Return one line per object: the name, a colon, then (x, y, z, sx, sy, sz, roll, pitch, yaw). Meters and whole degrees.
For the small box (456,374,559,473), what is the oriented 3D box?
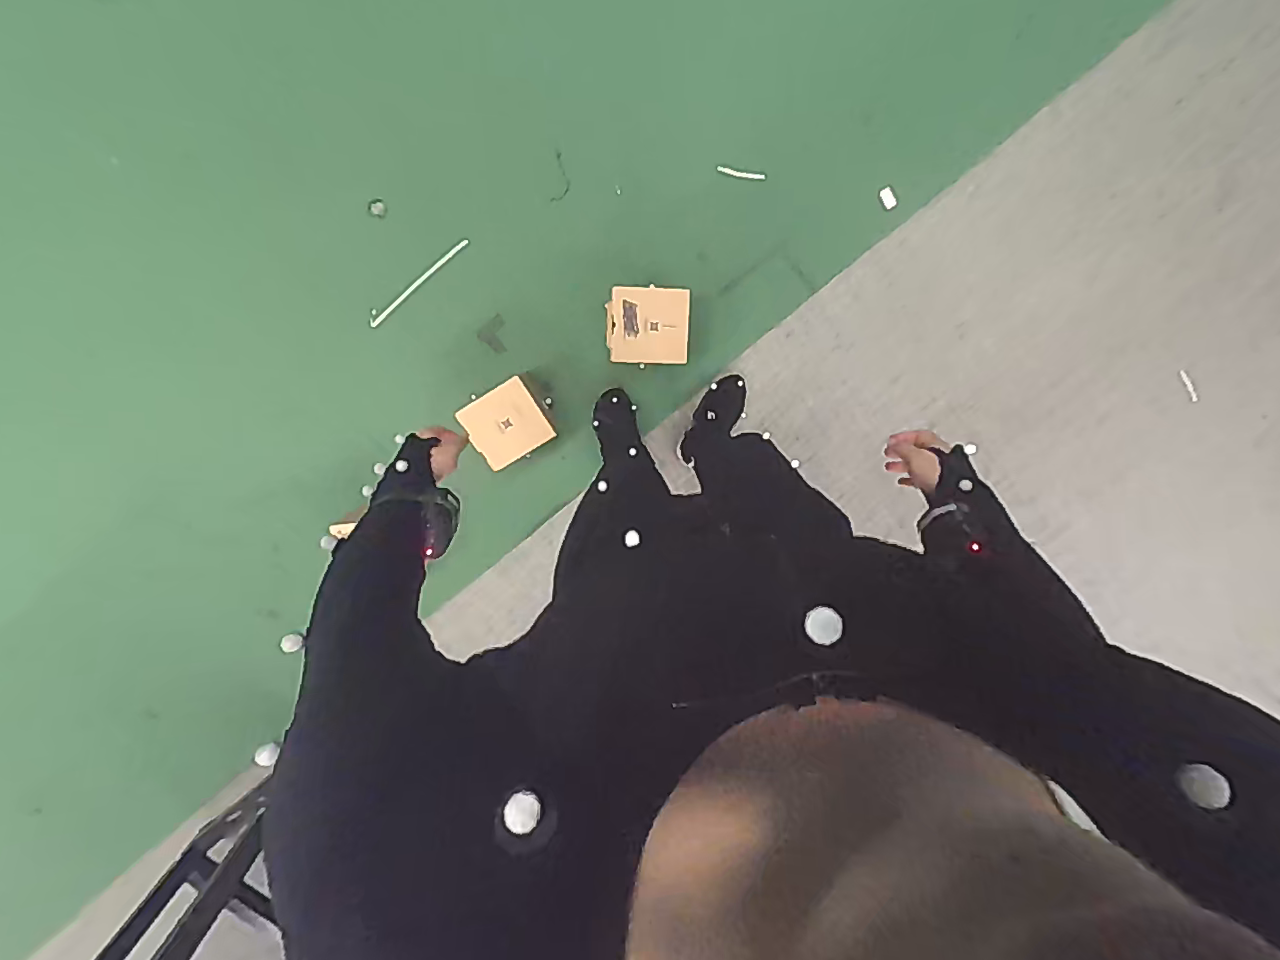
small box: (-0.312, -0.142, 1.315, 0.179, 0.176, 0.168, -32, 105, 2)

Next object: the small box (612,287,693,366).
small box: (0.022, -0.359, 1.286, 0.179, 0.176, 0.168, 0, 104, -6)

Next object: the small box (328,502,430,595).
small box: (-0.647, 0.169, 1.366, 0.168, 0.176, 0.179, -6, 105, -2)
